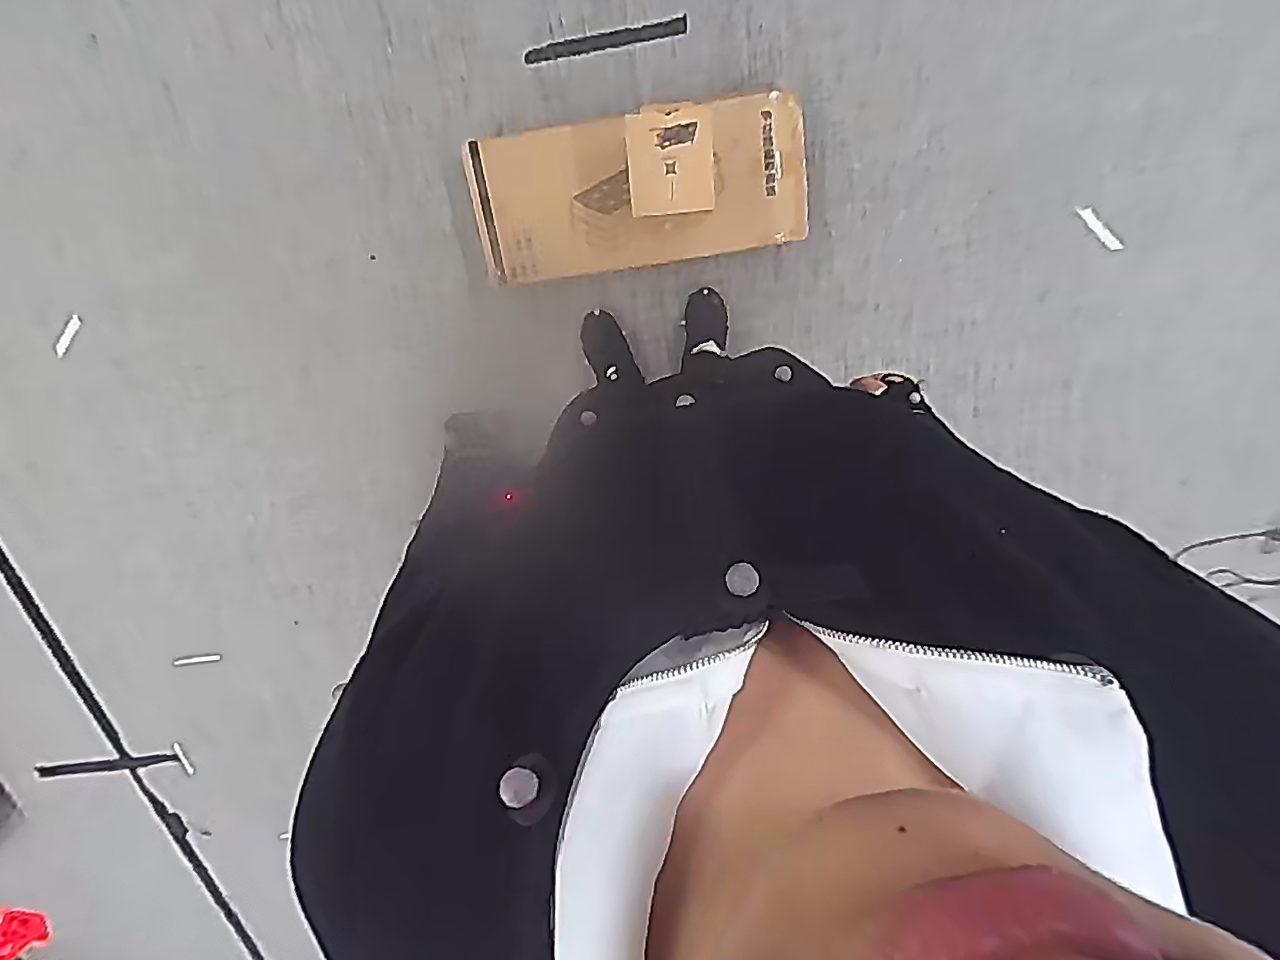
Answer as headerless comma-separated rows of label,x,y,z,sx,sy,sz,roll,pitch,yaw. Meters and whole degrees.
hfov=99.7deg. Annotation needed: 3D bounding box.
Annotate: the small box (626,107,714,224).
small box,0.058,-0.636,1.112,0.168,0.176,0.179,-5,111,2
